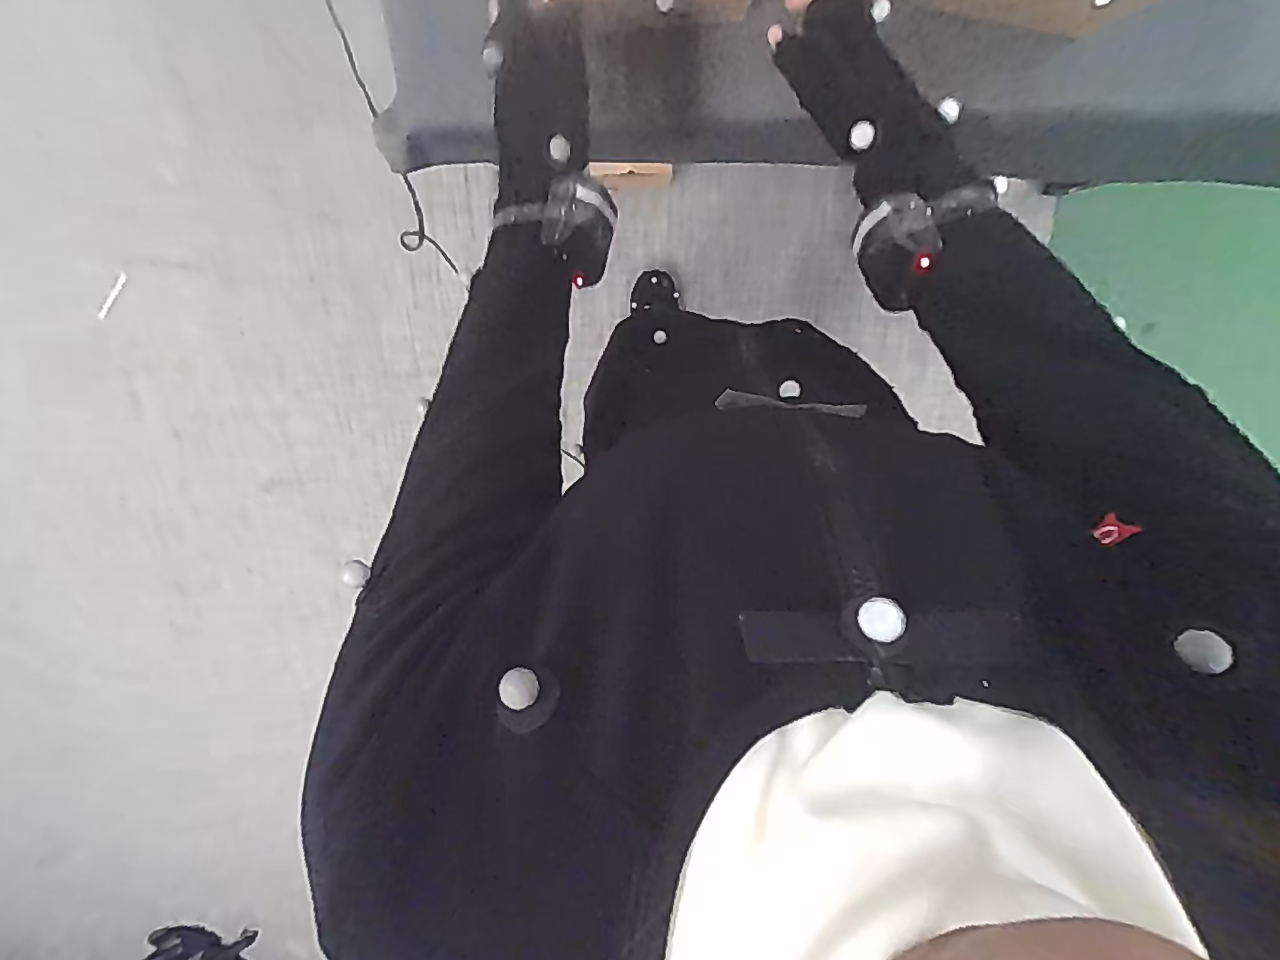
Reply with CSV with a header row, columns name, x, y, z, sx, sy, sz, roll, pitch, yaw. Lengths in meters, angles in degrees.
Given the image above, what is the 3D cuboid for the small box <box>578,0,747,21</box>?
name,x,y,z,sx,sy,sz,roll,pitch,yaw
small box,0.018,-0.498,0.425,0.168,0.176,0.179,-4,110,1
